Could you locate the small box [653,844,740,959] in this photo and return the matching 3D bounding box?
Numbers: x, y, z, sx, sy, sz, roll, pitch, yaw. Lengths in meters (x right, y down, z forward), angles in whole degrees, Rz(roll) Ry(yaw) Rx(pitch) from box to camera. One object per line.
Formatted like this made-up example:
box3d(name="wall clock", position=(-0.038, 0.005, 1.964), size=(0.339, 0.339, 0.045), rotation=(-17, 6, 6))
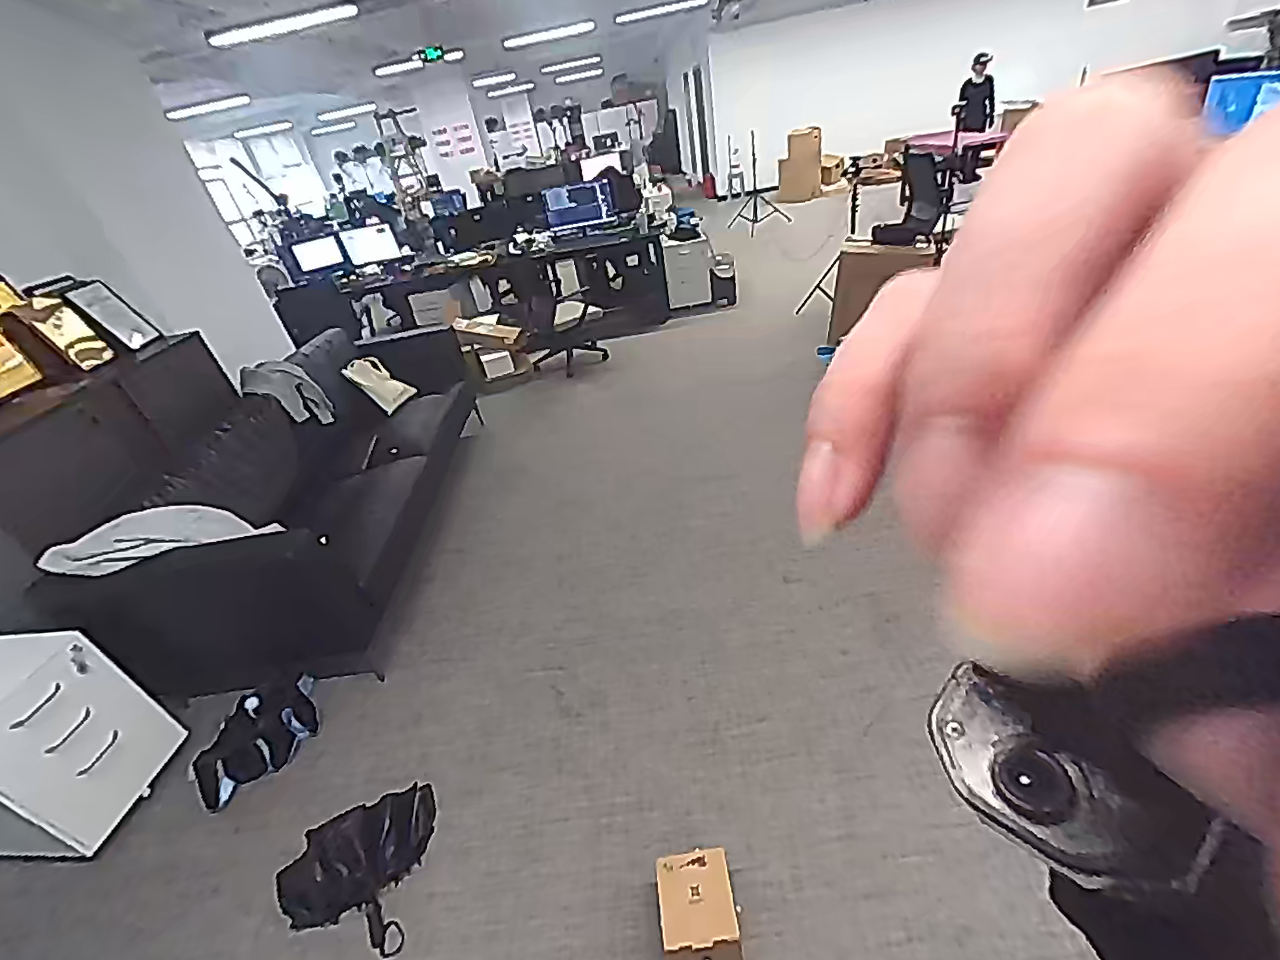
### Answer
box3d(name="small box", position=(0.131, 0.982, 1.250), size=(0.168, 0.176, 0.179), rotation=(-11, 36, 2))
